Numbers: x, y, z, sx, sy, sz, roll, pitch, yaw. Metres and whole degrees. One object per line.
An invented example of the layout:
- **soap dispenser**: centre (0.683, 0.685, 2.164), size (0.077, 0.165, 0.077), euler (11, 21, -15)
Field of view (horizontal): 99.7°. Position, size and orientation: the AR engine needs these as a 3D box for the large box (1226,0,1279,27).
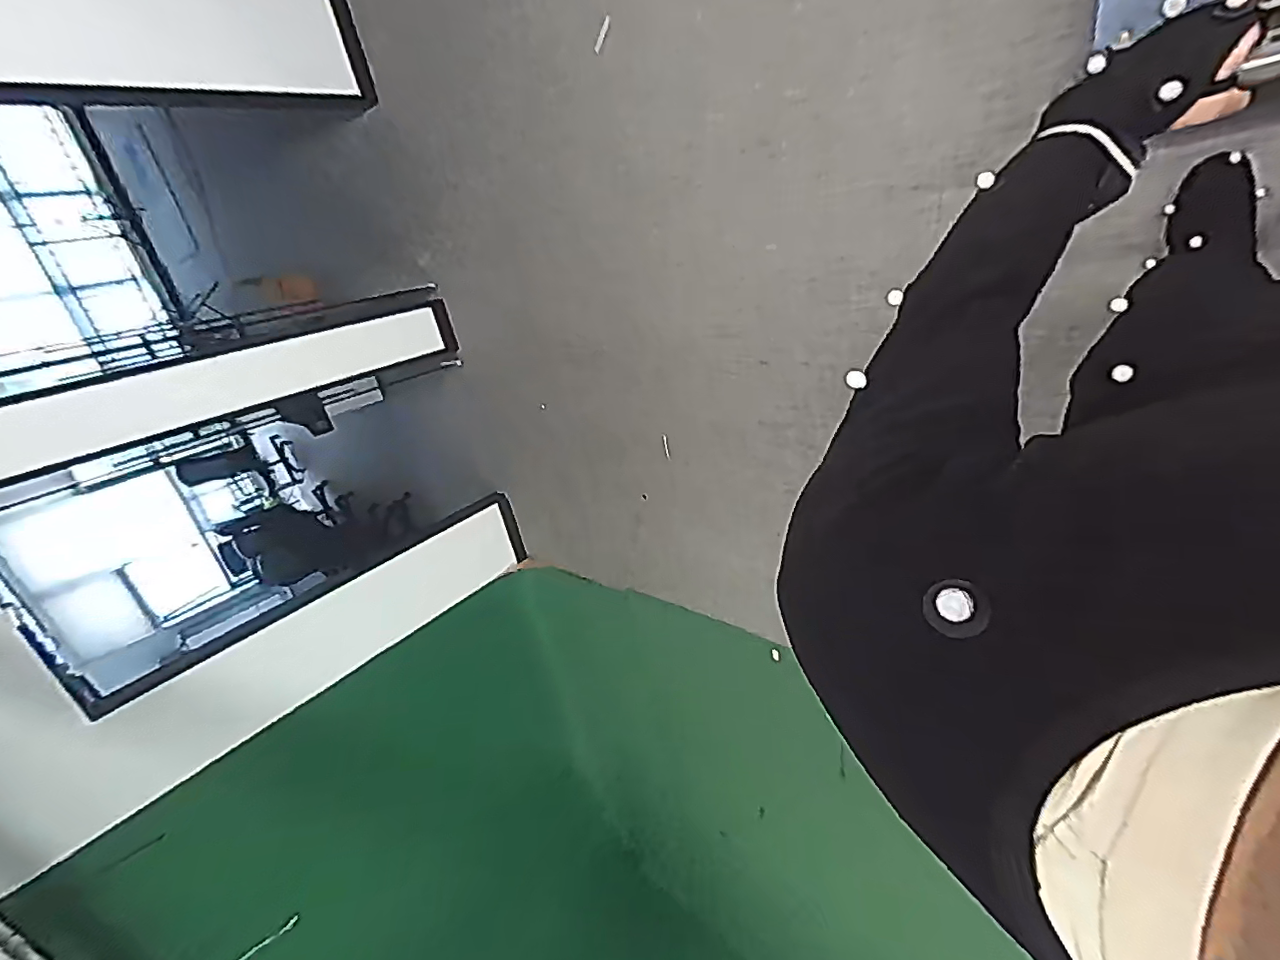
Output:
- **large box**: centre (0.880, -0.808, 0.574), size (0.320, 0.320, 0.408), euler (9, 119, 42)
